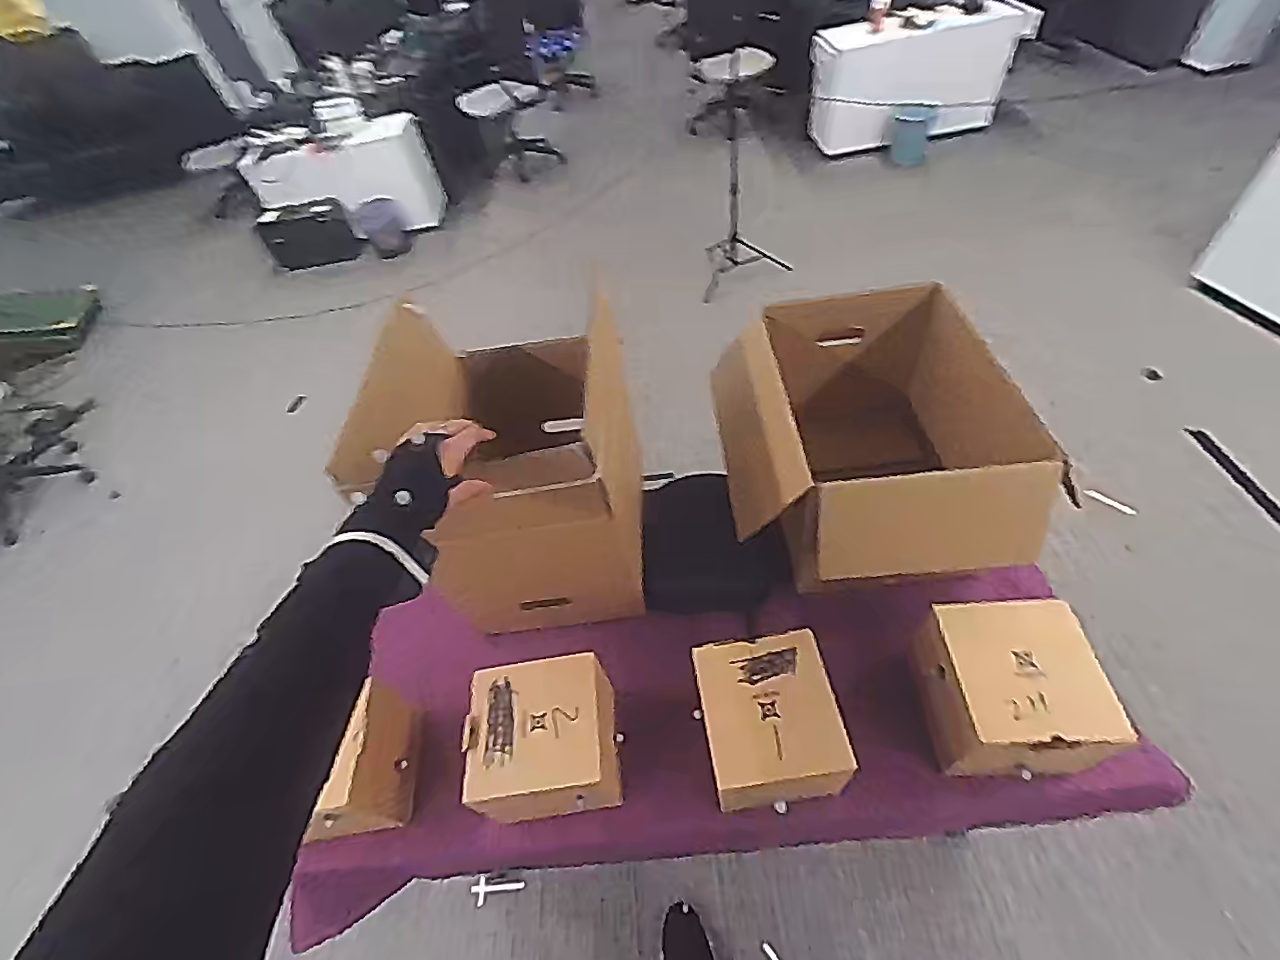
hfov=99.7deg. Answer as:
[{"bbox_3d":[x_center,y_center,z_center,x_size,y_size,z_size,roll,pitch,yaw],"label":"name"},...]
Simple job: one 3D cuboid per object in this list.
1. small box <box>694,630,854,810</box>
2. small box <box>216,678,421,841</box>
[{"bbox_3d":[0.170,0.331,0.740,0.168,0.176,0.179,-11,51,3],"label":"small box"},{"bbox_3d":[-0.451,0.413,0.792,0.179,0.176,0.168,-10,50,1],"label":"small box"}]
